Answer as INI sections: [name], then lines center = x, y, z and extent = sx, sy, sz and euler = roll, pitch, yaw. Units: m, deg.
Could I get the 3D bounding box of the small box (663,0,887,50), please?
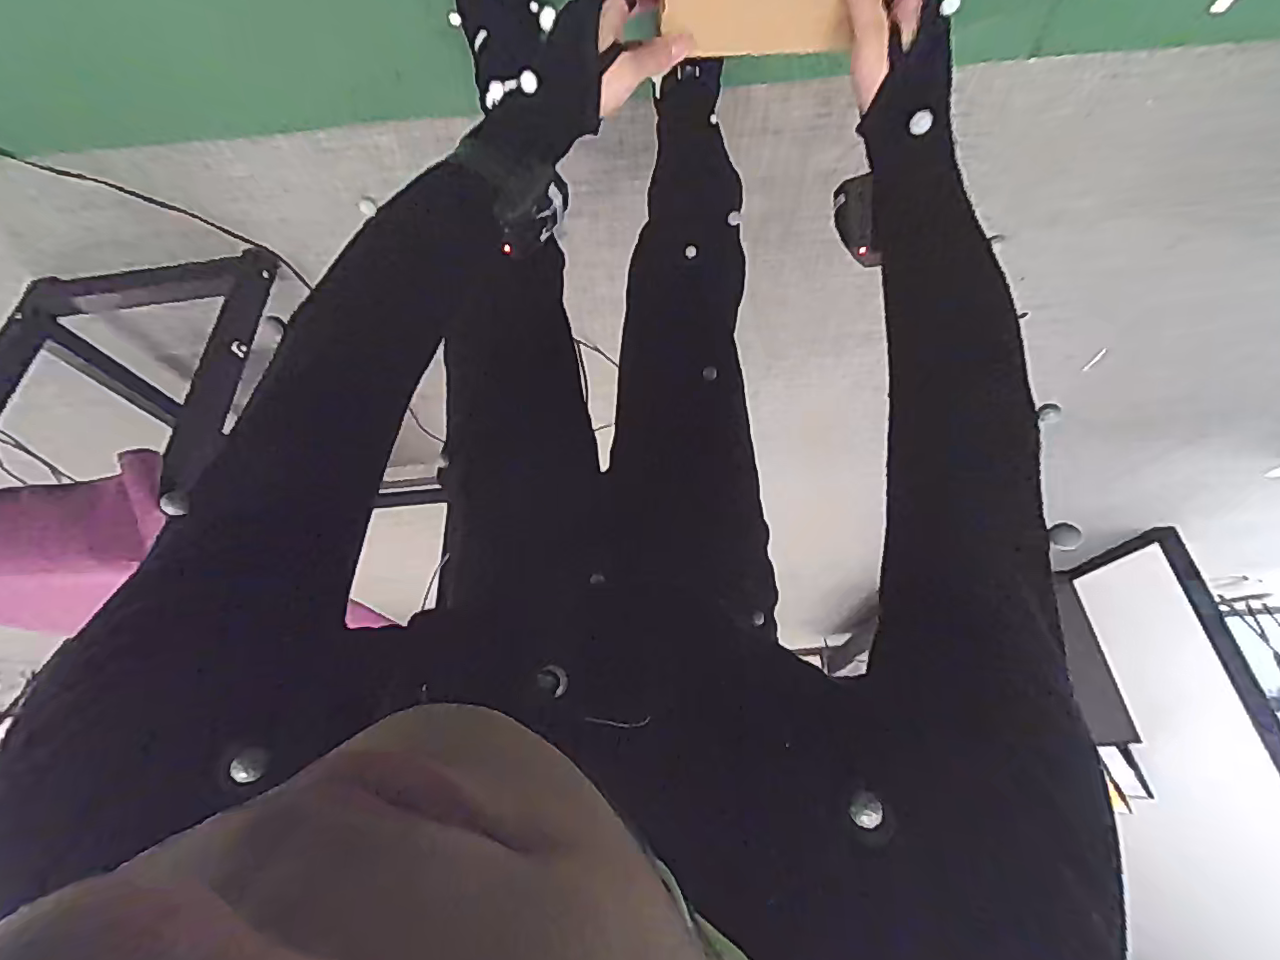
[small box]
center = 0.106, -0.472, 0.419
extent = 0.179, 0.176, 0.168
euler = -1, 150, 1
